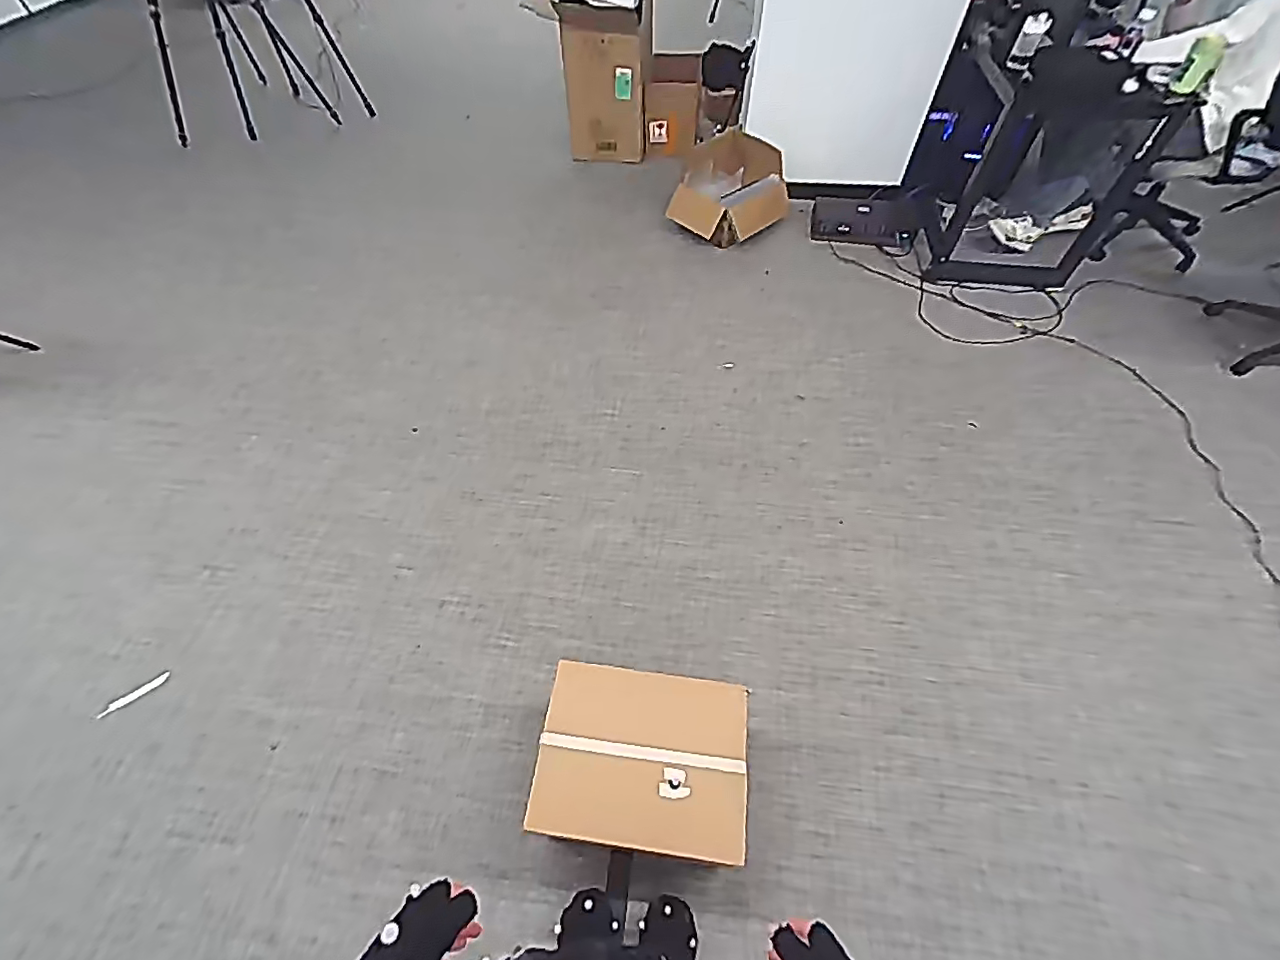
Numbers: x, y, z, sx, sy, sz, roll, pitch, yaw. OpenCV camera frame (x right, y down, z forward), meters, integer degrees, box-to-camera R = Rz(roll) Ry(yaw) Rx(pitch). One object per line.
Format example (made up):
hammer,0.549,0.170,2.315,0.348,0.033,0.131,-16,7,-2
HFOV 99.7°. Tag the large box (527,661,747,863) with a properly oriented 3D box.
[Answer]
large box,0.003,0.618,1.177,0.408,0.320,0.320,7,55,4
